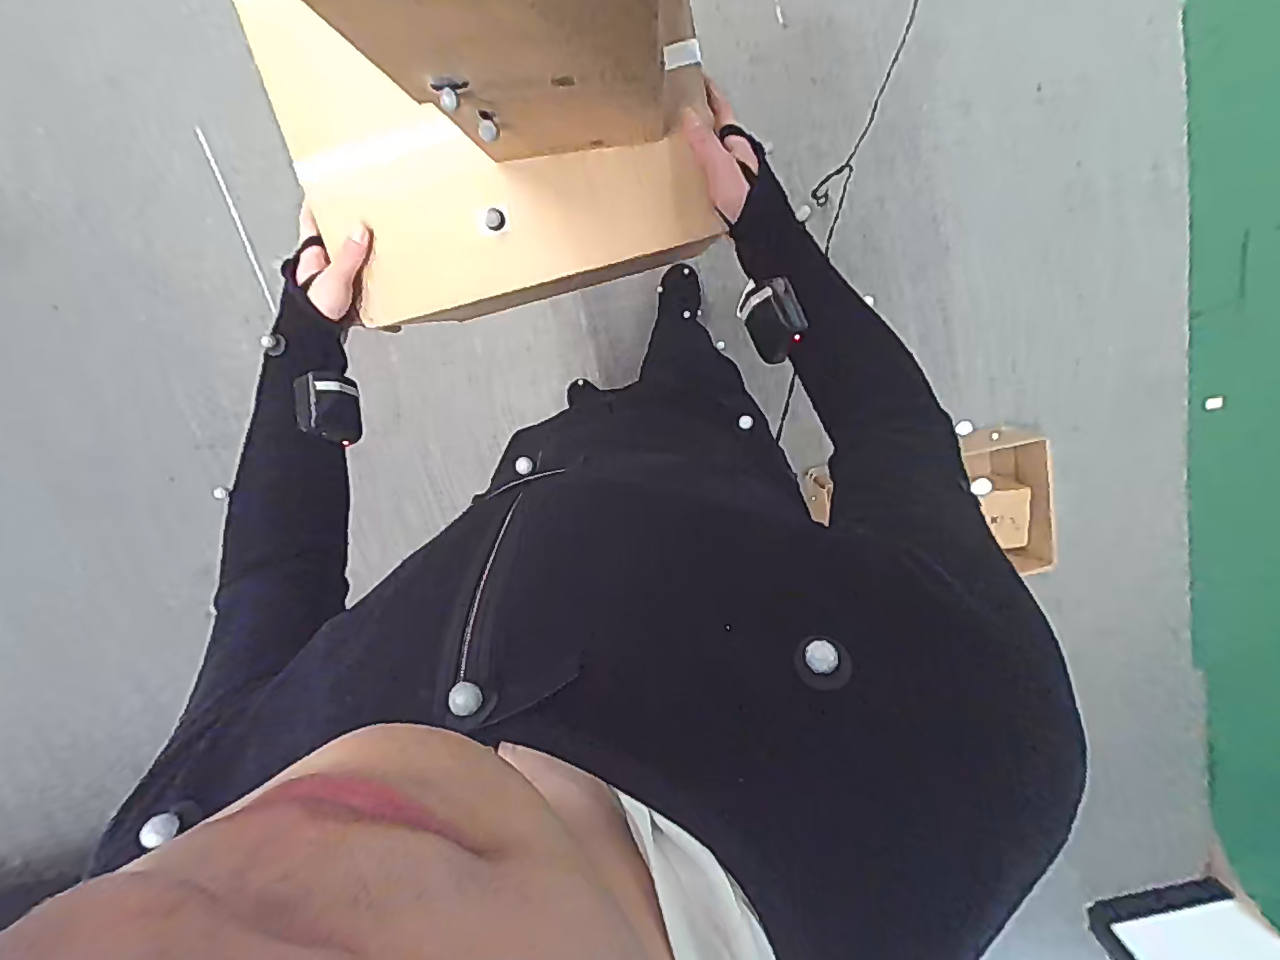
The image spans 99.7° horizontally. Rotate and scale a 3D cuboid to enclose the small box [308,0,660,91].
[{"bbox_3d":[-0.075,-0.310,0.253,0.168,0.176,0.179,-3,106,2],"label":"small box"}]
